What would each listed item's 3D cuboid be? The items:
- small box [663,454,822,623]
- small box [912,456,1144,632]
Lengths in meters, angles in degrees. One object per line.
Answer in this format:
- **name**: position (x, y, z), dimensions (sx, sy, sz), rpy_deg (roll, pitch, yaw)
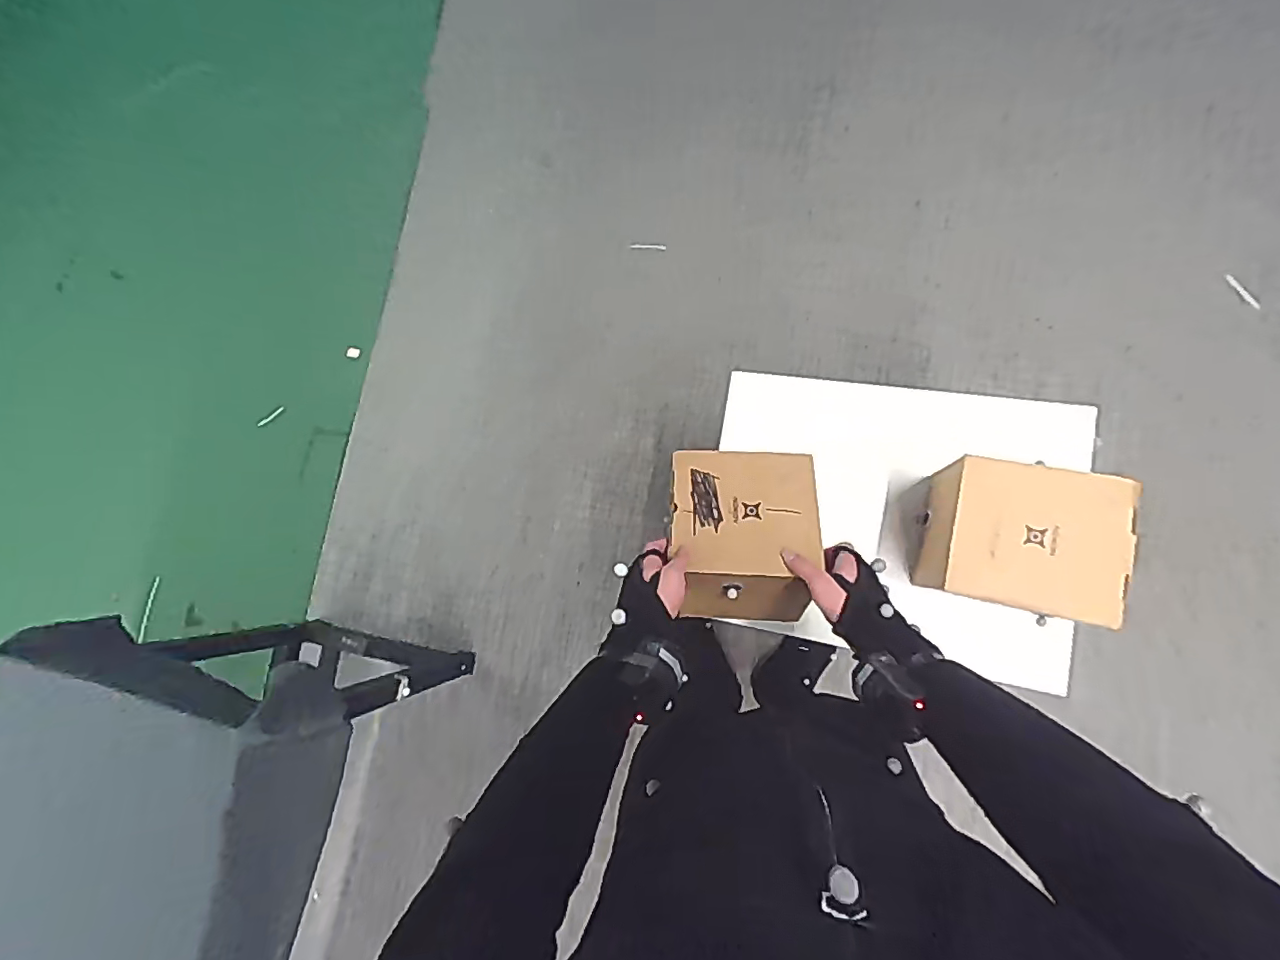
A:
- **small box**: position (0.124, 0.081, 0.700), dimensions (0.179, 0.176, 0.168), rpy_deg (1, 59, 5)
- **small box**: position (0.462, 0.077, 0.673), dimensions (0.179, 0.176, 0.168), rpy_deg (11, 84, 17)
